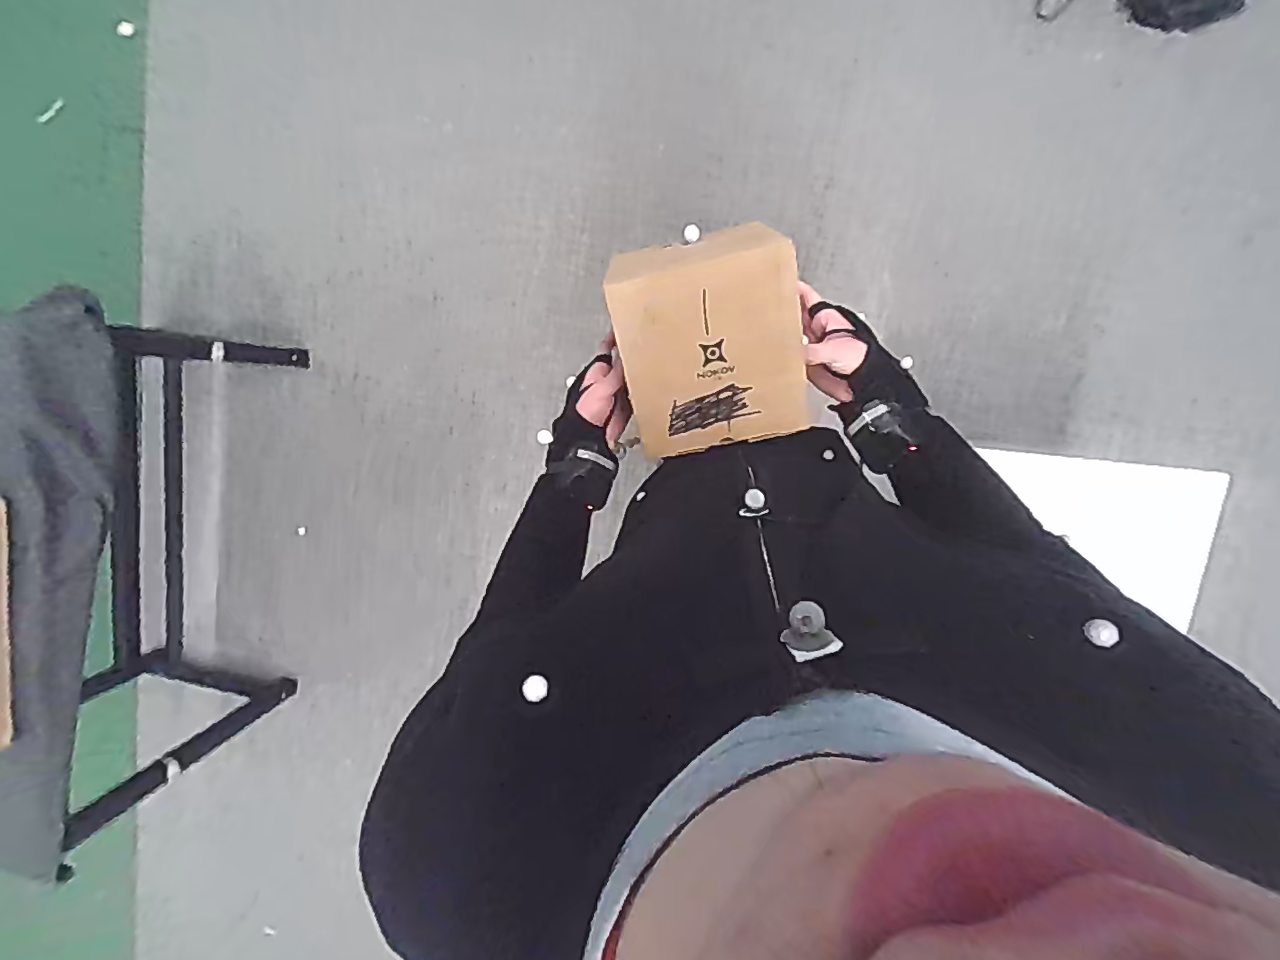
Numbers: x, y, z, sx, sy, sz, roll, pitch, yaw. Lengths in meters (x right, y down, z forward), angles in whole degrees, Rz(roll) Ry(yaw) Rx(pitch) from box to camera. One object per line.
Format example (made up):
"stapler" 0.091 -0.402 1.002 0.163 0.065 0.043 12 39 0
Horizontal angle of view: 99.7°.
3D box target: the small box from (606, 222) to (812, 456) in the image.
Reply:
"small box" 0.069 -0.151 0.561 0.168 0.176 0.179 -13 118 6
